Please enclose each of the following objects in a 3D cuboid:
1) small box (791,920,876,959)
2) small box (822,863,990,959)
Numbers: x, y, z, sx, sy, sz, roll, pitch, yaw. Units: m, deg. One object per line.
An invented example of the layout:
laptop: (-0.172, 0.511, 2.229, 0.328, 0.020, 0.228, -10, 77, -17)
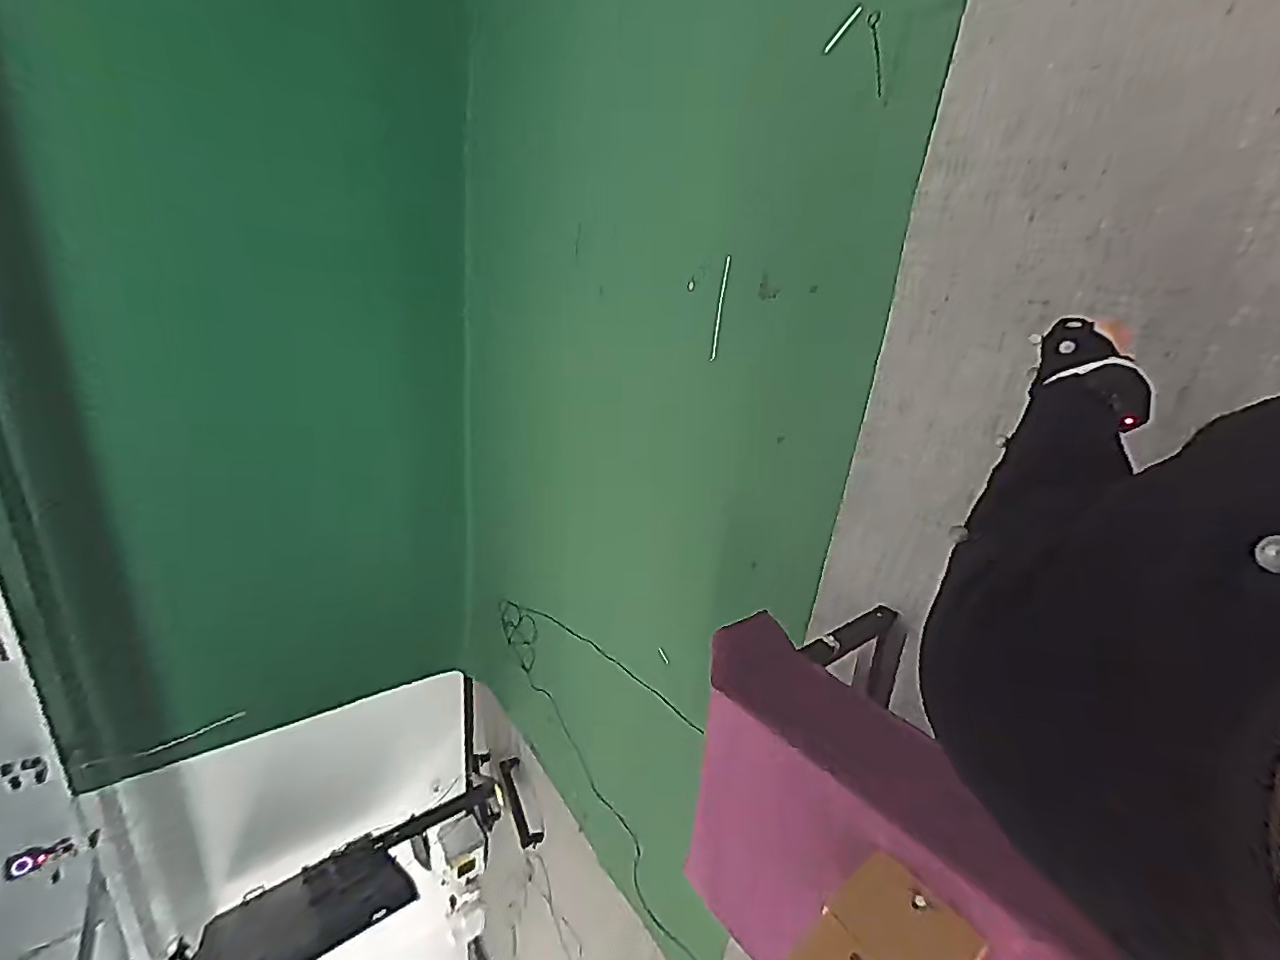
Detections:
small box: (0.270, 0.777, 0.742, 0.168, 0.176, 0.179, 28, 118, 46)
small box: (0.398, 0.744, 0.839, 0.179, 0.176, 0.168, 27, 119, 47)
